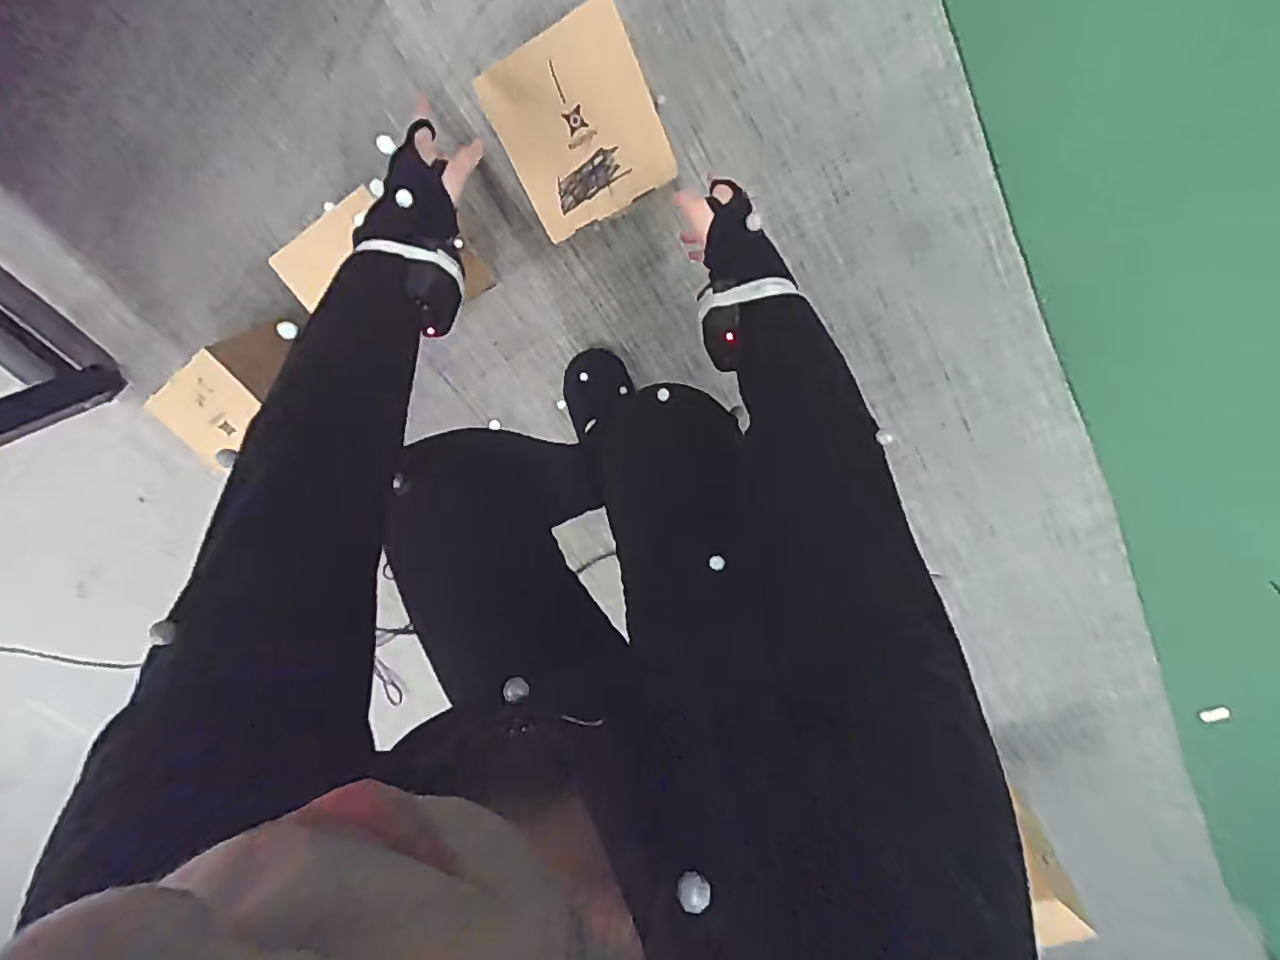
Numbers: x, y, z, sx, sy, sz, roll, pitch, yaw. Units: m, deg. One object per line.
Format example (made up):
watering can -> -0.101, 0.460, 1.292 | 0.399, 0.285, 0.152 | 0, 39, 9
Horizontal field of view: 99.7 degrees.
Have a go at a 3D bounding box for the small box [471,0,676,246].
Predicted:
small box -> -0.062, -0.410, 0.647 | 0.168, 0.176, 0.179 | -20, 116, 16

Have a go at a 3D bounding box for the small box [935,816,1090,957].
small box -> 0.732, 0.805, 1.082 | 0.168, 0.176, 0.179 | -38, 111, 25
